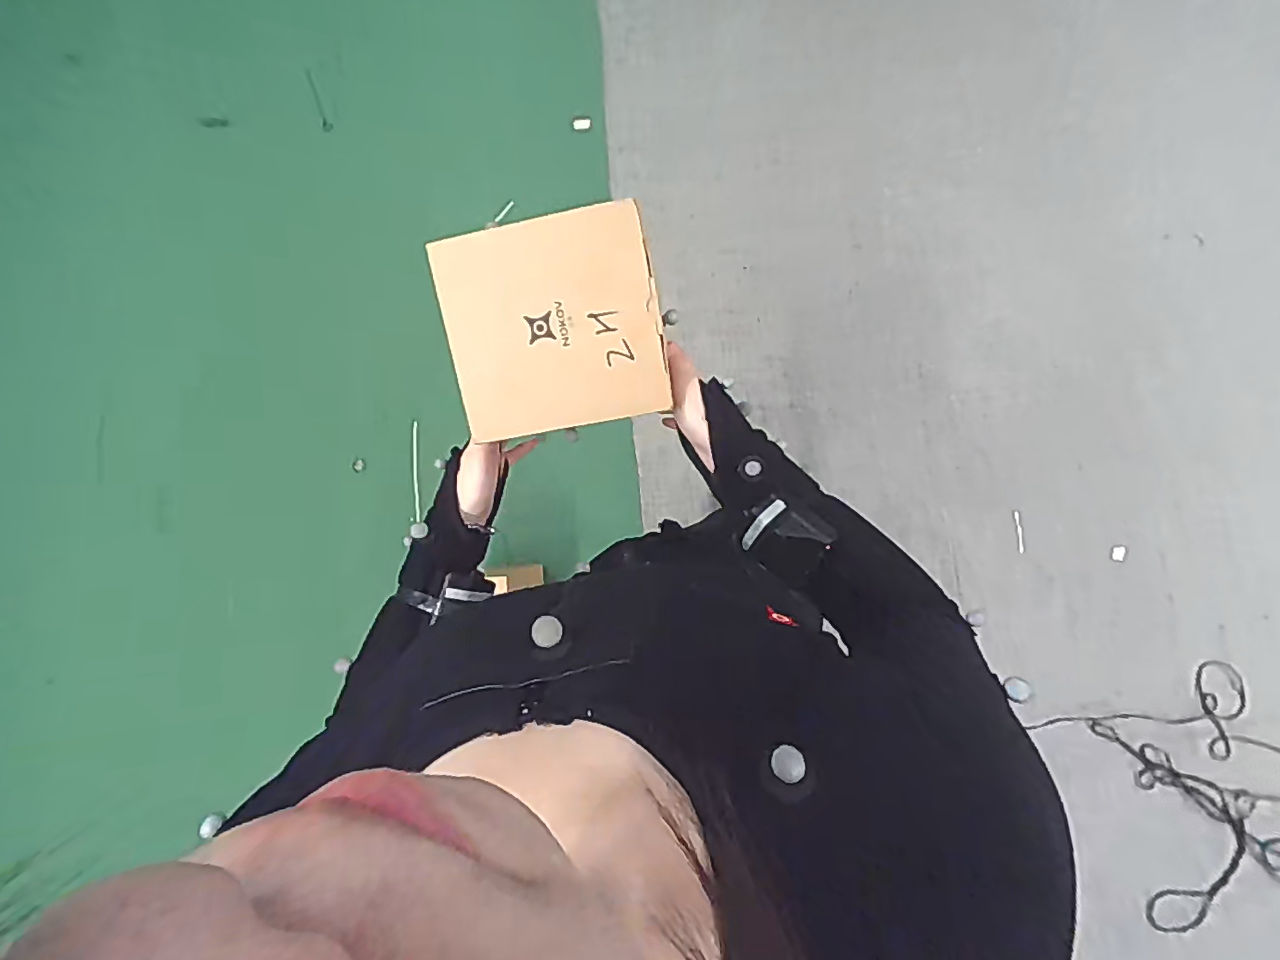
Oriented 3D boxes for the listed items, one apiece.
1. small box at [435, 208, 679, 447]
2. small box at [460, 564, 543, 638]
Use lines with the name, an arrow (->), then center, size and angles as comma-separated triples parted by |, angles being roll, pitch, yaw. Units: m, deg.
small box -> -0.060, -0.134, 0.513 | 0.179, 0.176, 0.168 | -9, 102, 6
small box -> -0.365, 0.321, 1.458 | 0.179, 0.176, 0.168 | -5, 86, 6
